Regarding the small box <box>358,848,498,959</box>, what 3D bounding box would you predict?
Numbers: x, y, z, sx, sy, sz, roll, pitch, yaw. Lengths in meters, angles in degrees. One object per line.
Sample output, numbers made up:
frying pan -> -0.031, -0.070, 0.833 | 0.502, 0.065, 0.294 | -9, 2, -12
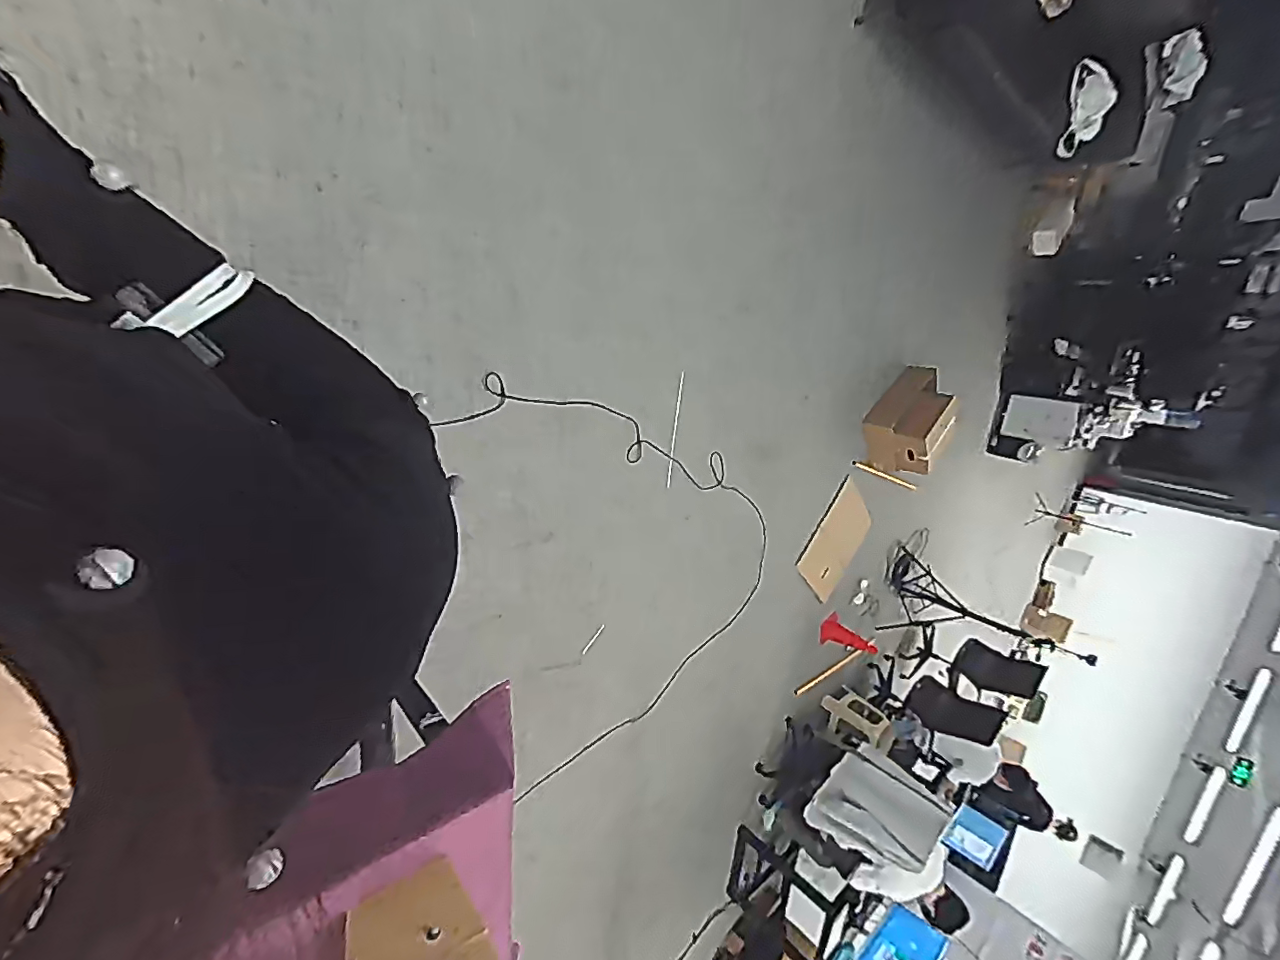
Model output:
small box -> -0.372, 0.800, 0.944 | 0.179, 0.176, 0.168 | -5, 109, -42
